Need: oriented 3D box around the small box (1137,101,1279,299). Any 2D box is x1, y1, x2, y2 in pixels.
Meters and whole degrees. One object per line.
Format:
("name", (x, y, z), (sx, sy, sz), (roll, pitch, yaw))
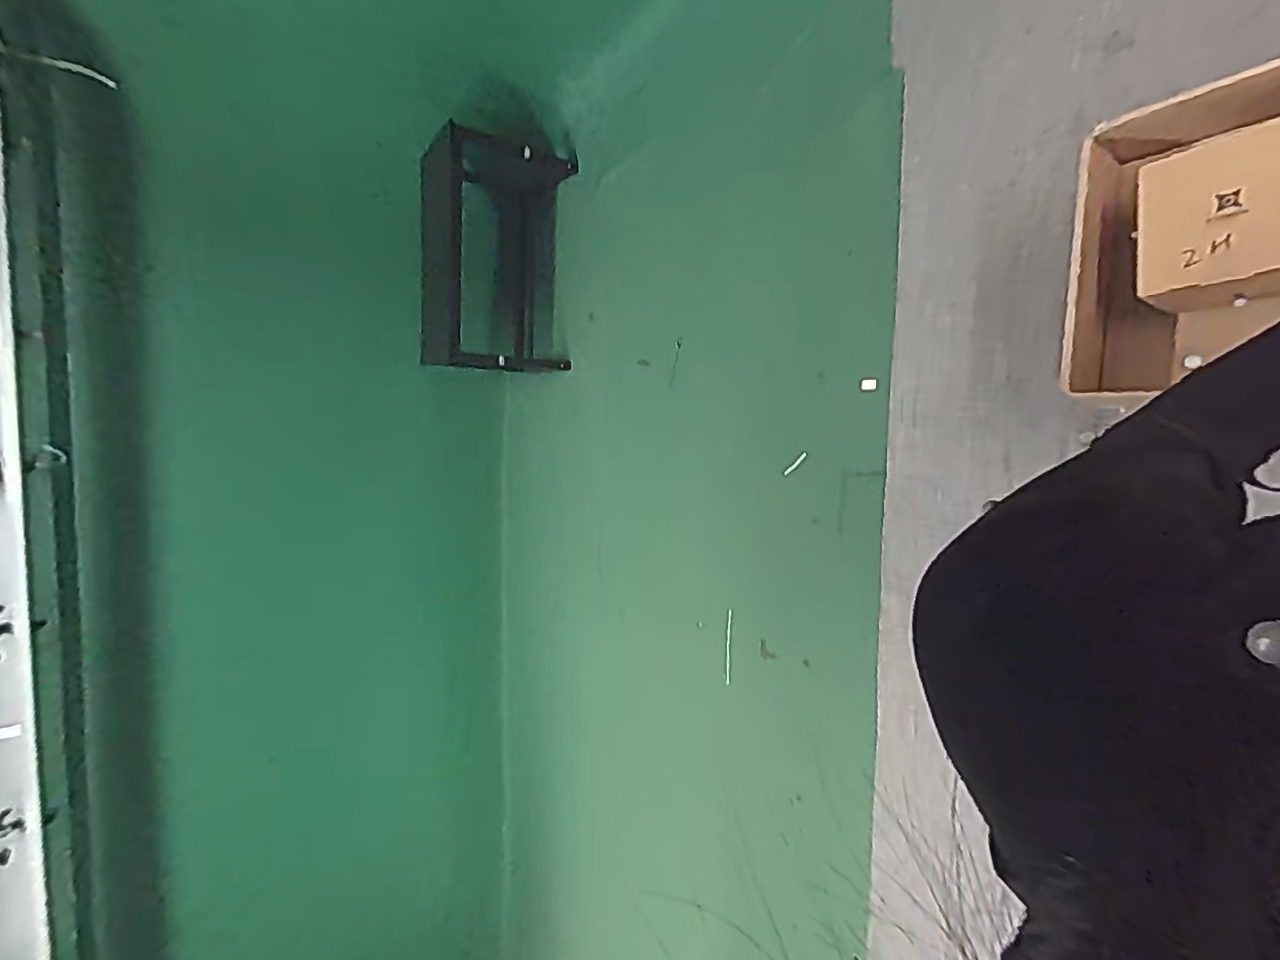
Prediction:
("small box", (0.774, -0.349, 0.695), (0.168, 0.176, 0.179), (3, 95, 55))
